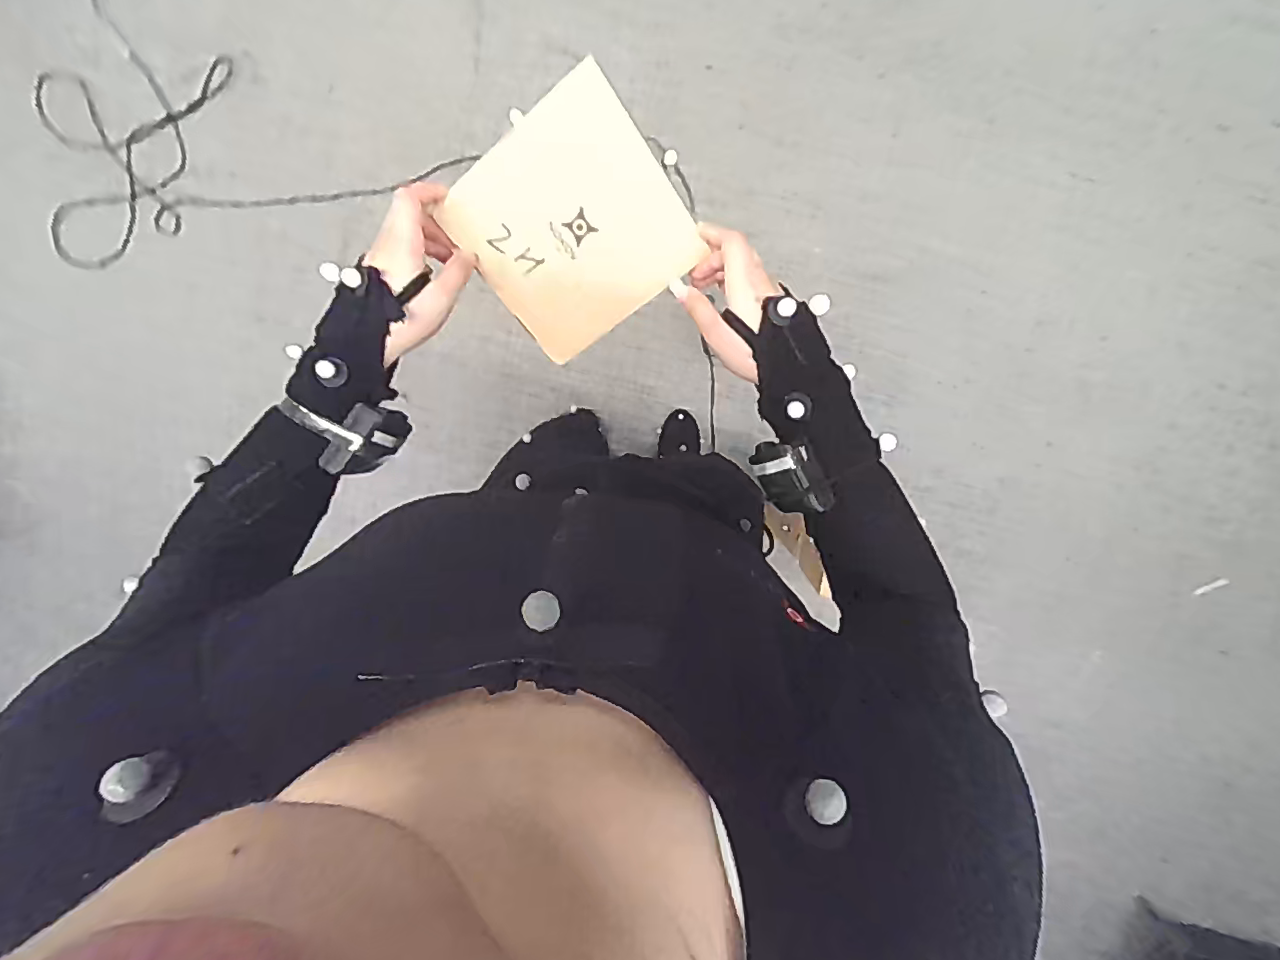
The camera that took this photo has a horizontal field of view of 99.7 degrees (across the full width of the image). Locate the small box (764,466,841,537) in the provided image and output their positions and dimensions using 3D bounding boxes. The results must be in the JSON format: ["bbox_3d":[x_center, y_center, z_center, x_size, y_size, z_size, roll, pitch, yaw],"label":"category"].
[{"bbox_3d":[0.435,0.064,1.406,0.179,0.176,0.168,12,101,0],"label":"small box"}]

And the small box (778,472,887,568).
[{"bbox_3d":[0.430,0.084,1.244,0.179,0.176,0.168,9,102,-1],"label":"small box"}]

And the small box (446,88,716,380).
[{"bbox_3d":[-0.048,-0.234,0.526,0.179,0.176,0.168,-31,114,19],"label":"small box"}]
